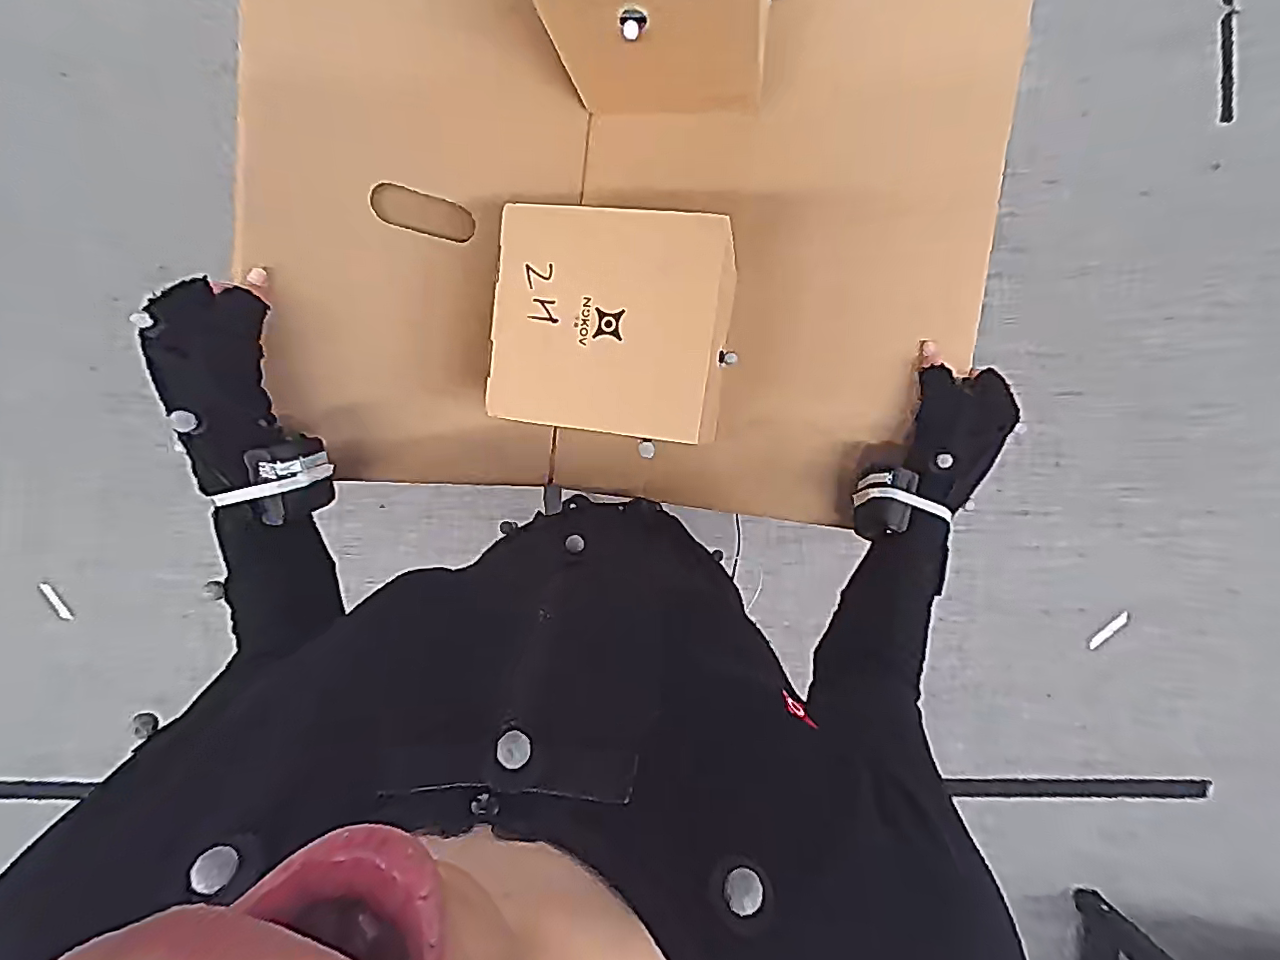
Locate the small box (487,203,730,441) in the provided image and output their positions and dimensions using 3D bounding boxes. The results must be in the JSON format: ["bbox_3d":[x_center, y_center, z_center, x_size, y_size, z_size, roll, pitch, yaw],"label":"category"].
[{"bbox_3d":[-0.015,-0.131,0.496,0.179,0.176,0.168,9,96,11],"label":"small box"}]

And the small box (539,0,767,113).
[{"bbox_3d":[0.019,-0.447,0.464,0.179,0.176,0.168,7,96,11],"label":"small box"}]
